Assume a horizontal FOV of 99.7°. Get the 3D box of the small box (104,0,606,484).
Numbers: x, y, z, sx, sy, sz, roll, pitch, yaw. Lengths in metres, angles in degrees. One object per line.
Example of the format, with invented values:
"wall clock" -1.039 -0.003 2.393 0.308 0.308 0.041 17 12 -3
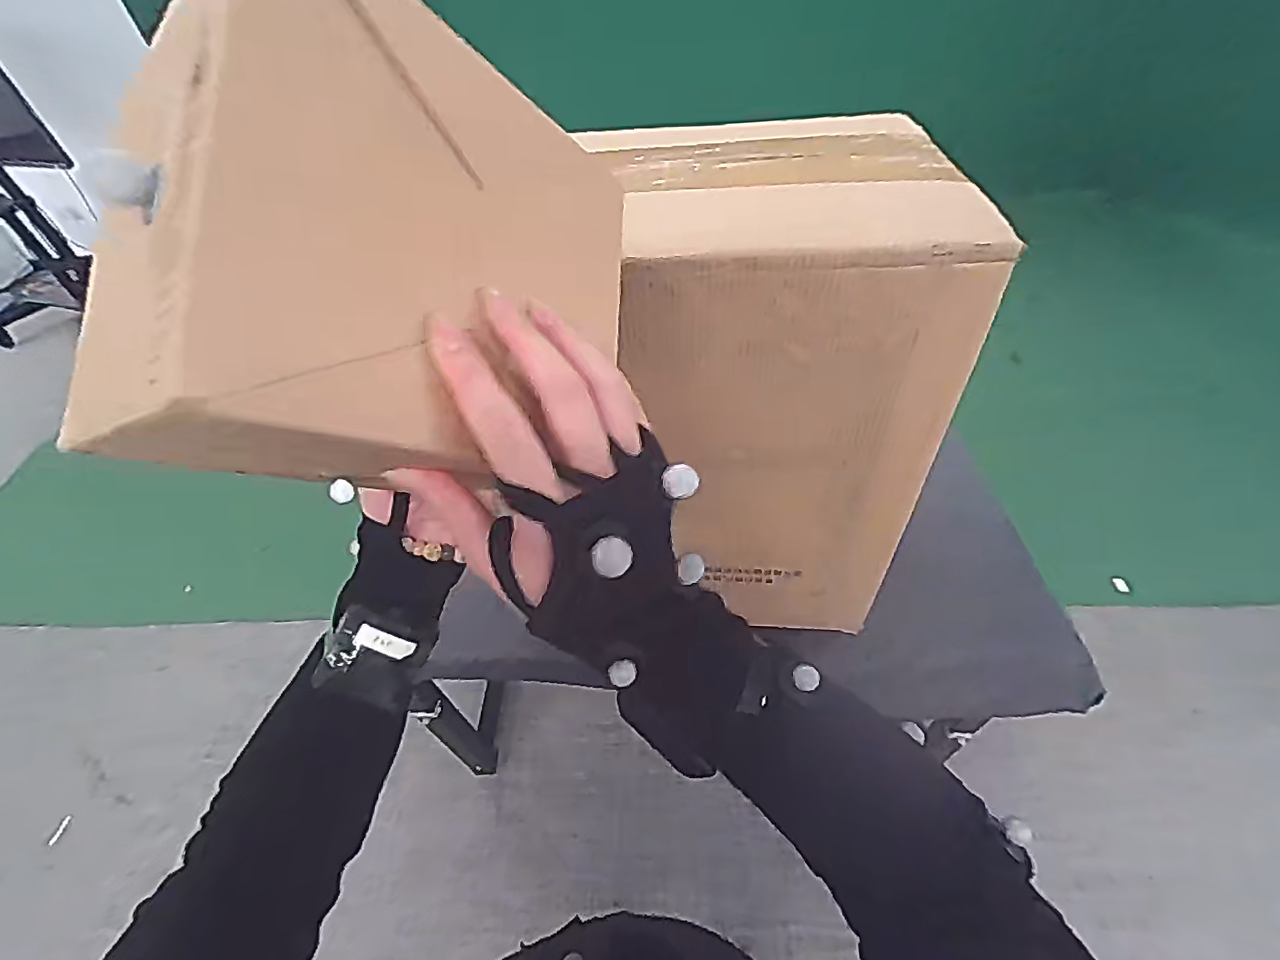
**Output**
"small box" -0.131 -0.088 0.275 0.176 0.179 0.168 -6 82 36
